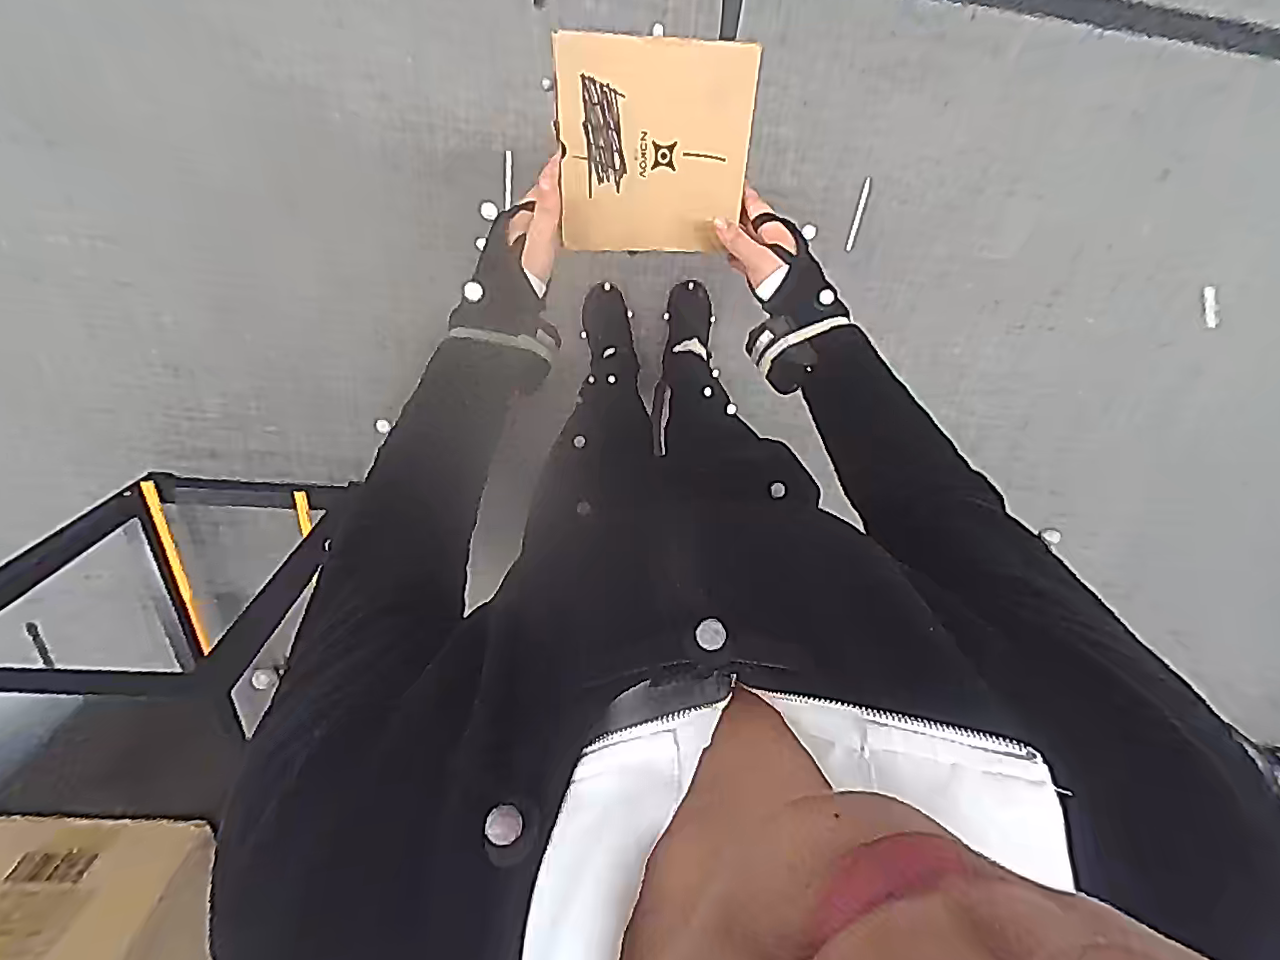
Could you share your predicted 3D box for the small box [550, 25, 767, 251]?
[{"bbox_3d":[0.005,-0.333,0.538,0.179,0.176,0.168,-3,126,-7],"label":"small box"}]
